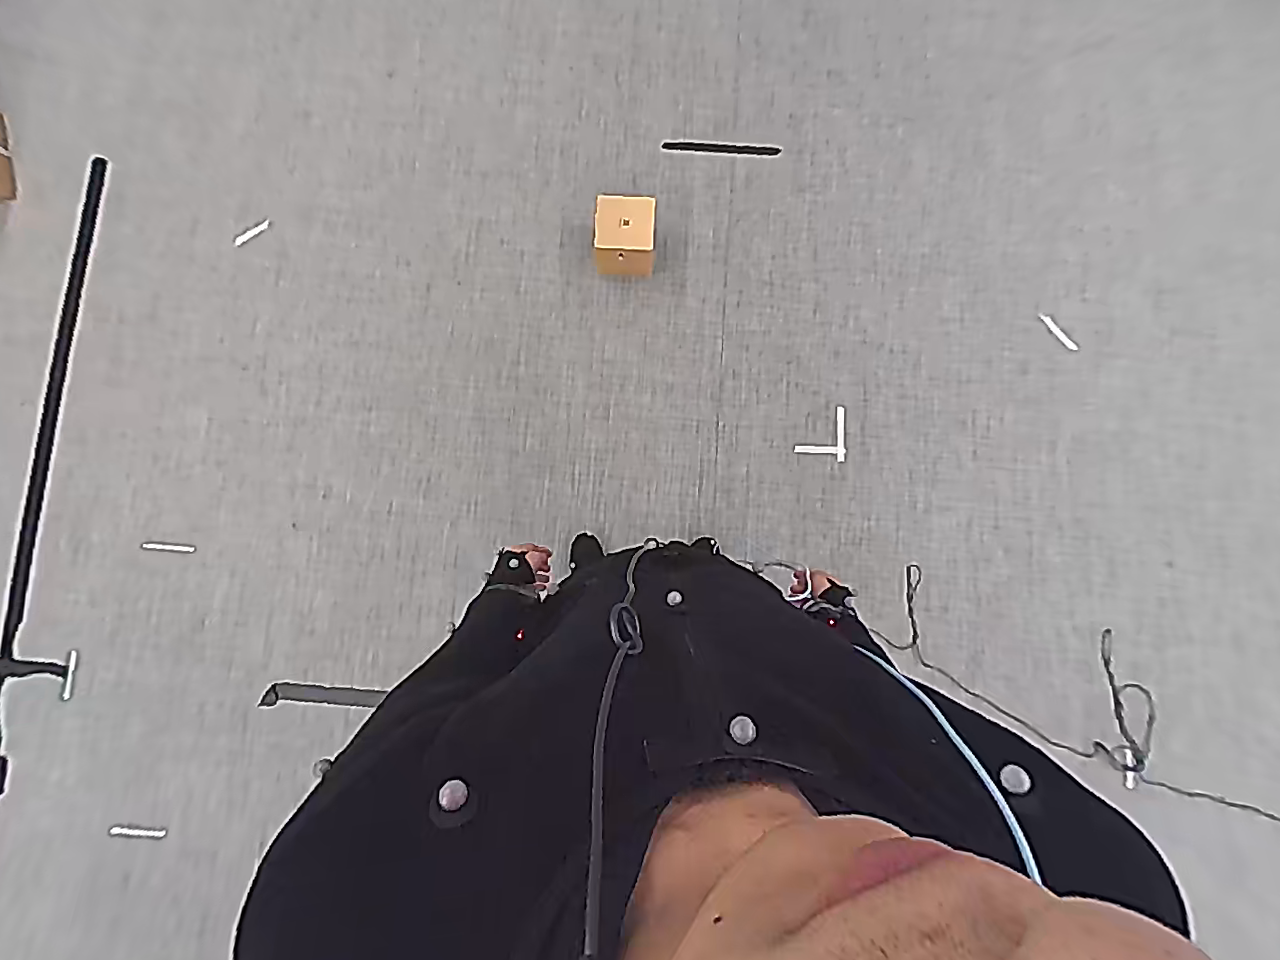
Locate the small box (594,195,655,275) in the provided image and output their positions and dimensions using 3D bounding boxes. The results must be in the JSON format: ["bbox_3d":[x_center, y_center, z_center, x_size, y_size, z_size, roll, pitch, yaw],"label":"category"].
[{"bbox_3d":[-0.046,-0.750,1.670,0.179,0.176,0.168,3,85,0],"label":"small box"}]
